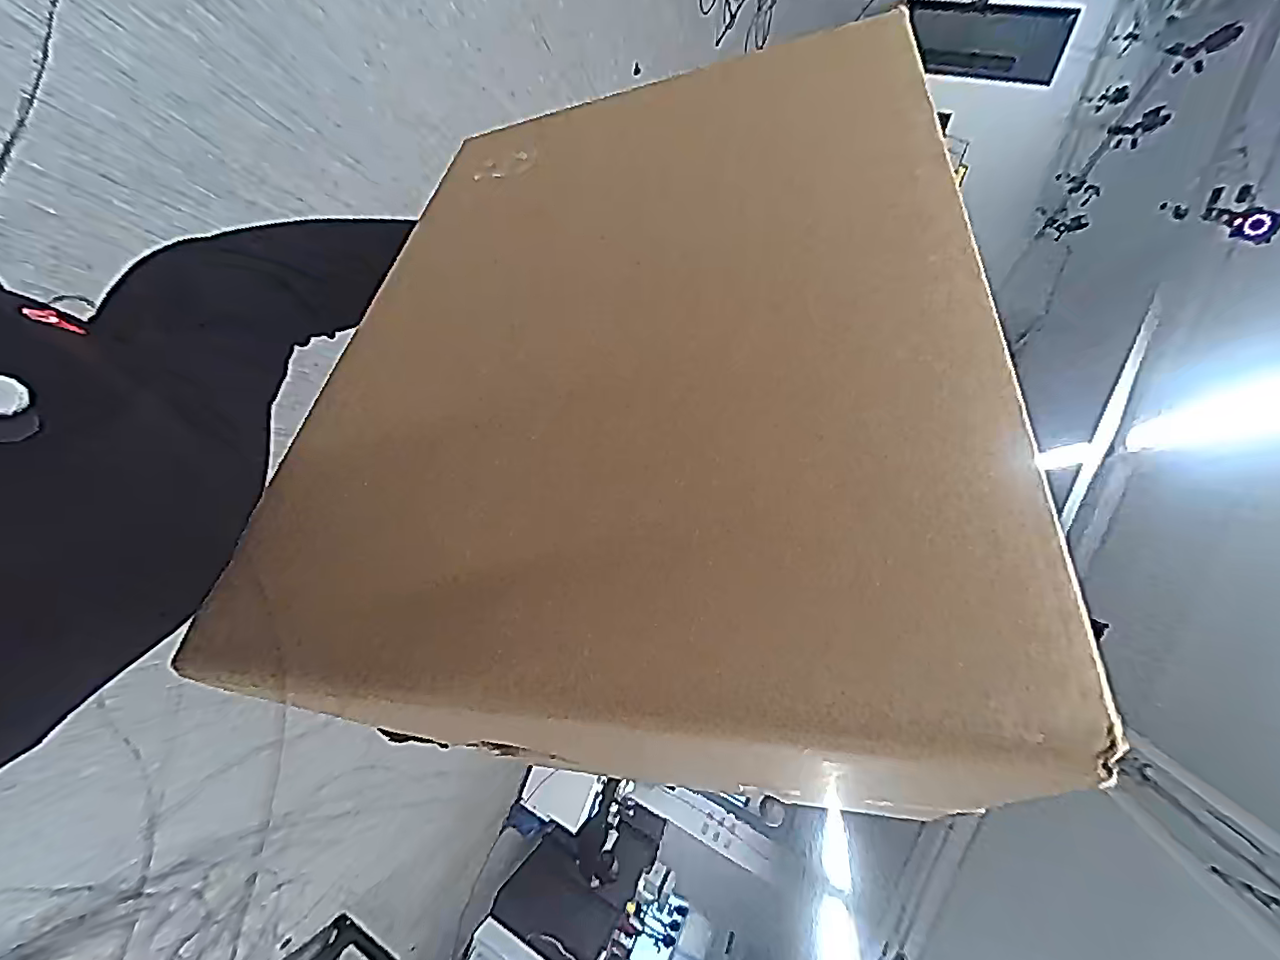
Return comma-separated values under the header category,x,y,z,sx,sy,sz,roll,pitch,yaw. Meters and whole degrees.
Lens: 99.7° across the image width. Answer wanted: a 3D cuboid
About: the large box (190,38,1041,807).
category,x,y,z,sx,sy,sz,roll,pitch,yaw
large box,0.027,-0.024,0.393,0.320,0.320,0.408,63,31,-53
